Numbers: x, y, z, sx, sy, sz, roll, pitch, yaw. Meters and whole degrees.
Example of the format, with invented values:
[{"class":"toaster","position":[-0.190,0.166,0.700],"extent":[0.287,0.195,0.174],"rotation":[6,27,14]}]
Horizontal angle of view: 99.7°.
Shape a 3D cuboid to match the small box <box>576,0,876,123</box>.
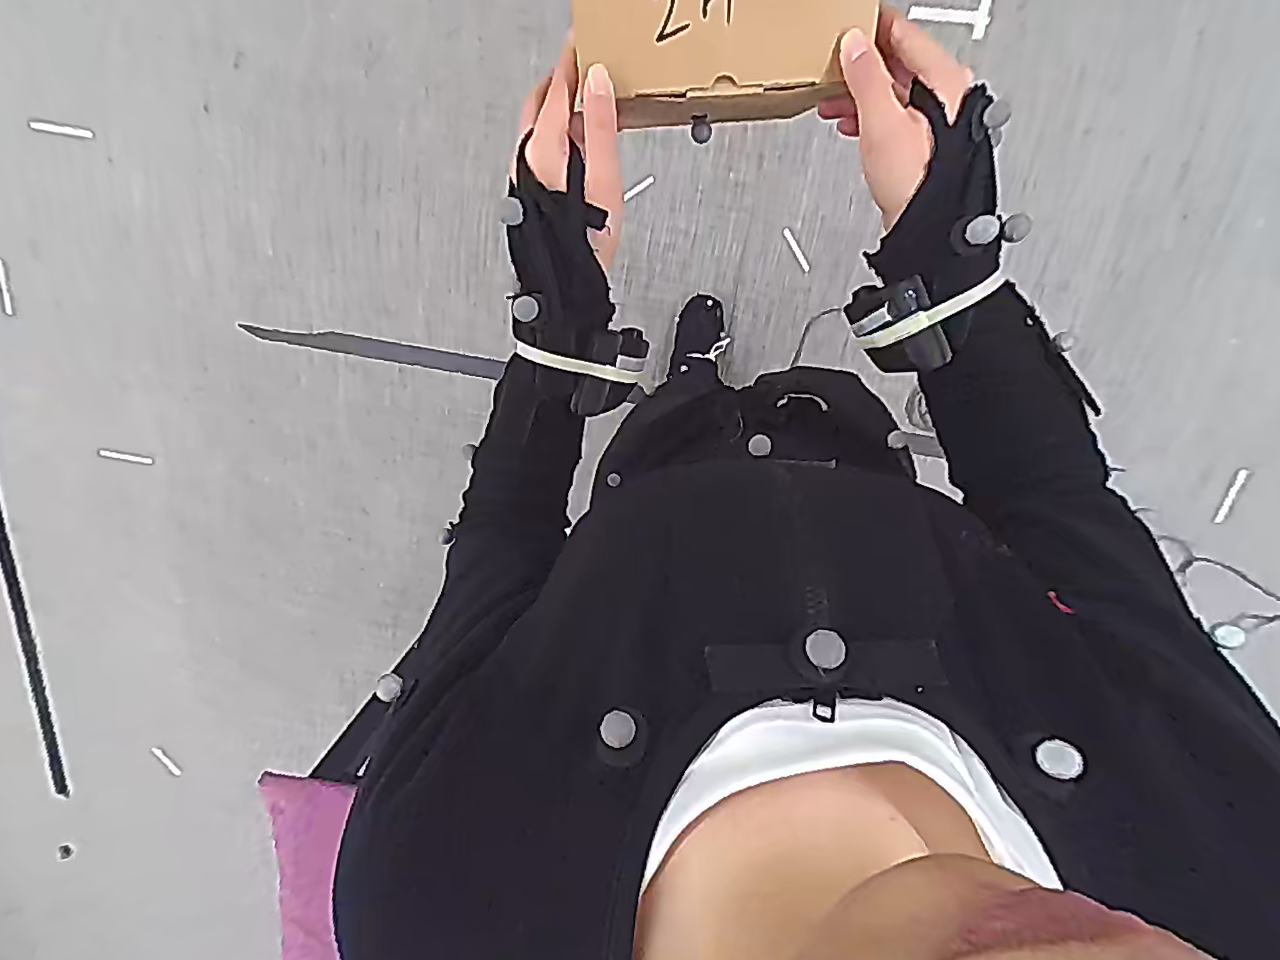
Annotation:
[{"class":"small box","position":[0.043,-0.341,0.339],"extent":[0.168,0.176,0.179],"rotation":[-3,118,0]}]
